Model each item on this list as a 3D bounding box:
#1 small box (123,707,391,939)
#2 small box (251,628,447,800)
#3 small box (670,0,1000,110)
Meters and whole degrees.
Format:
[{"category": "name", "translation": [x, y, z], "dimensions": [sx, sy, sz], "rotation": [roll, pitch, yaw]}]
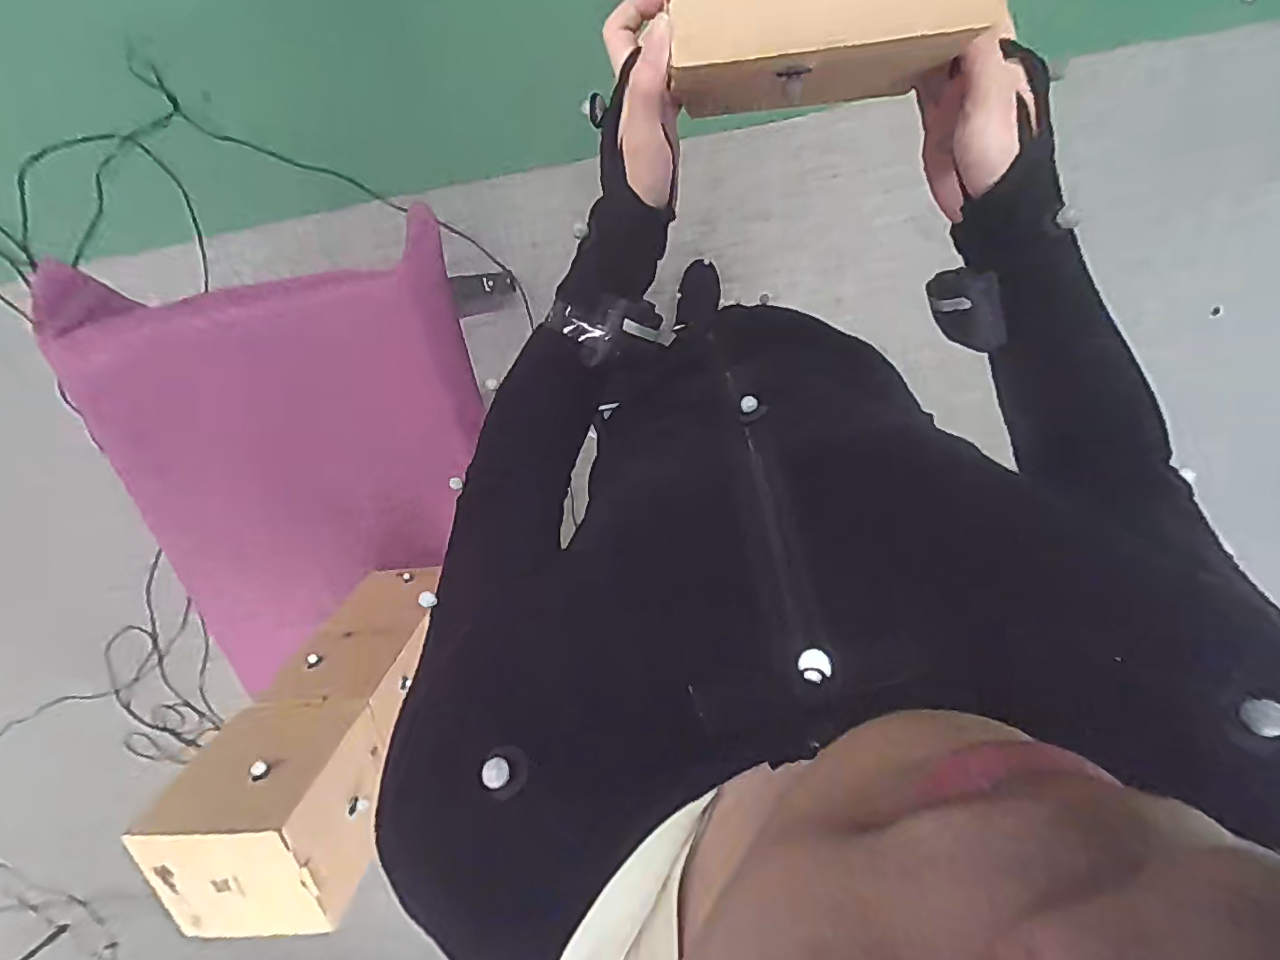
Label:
[{"category": "small box", "translation": [-0.418, 0.389, 0.633], "dimensions": [0.179, 0.176, 0.168], "rotation": [-5, 110, 4]}, {"category": "small box", "translation": [-0.404, 0.331, 0.785], "dimensions": [0.168, 0.176, 0.179], "rotation": [-5, 111, 5]}, {"category": "small box", "translation": [0.113, -0.352, 0.340], "dimensions": [0.179, 0.176, 0.168], "rotation": [0, 115, 10]}]
